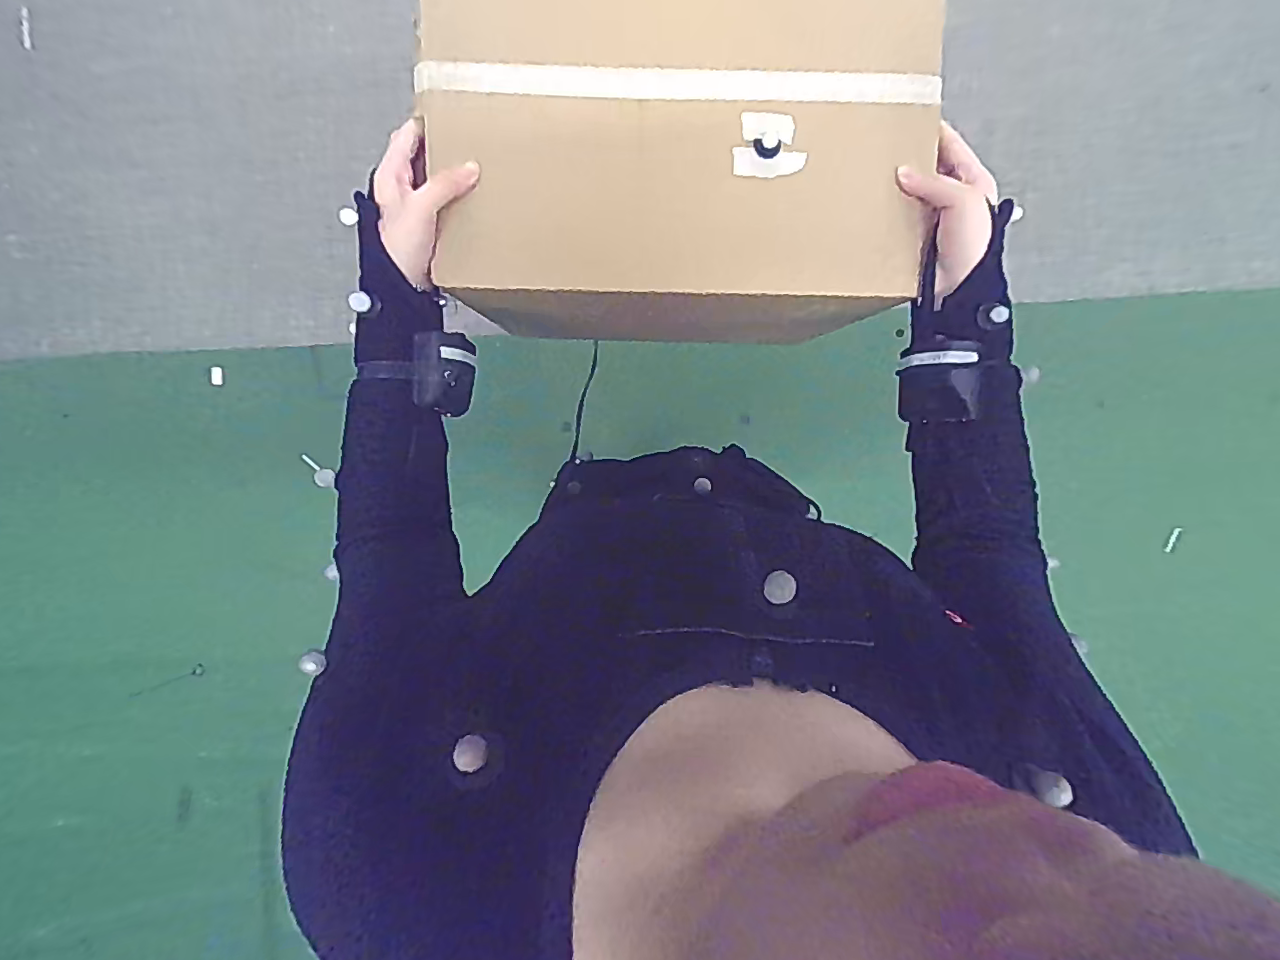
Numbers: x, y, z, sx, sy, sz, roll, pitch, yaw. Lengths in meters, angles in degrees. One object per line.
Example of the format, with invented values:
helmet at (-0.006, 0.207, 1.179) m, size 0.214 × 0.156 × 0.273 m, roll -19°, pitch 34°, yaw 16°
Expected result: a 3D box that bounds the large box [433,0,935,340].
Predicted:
large box at (0.029, -0.329, 0.580) m, size 0.408 × 0.320 × 0.320 m, roll 0°, pitch 98°, yaw -3°
